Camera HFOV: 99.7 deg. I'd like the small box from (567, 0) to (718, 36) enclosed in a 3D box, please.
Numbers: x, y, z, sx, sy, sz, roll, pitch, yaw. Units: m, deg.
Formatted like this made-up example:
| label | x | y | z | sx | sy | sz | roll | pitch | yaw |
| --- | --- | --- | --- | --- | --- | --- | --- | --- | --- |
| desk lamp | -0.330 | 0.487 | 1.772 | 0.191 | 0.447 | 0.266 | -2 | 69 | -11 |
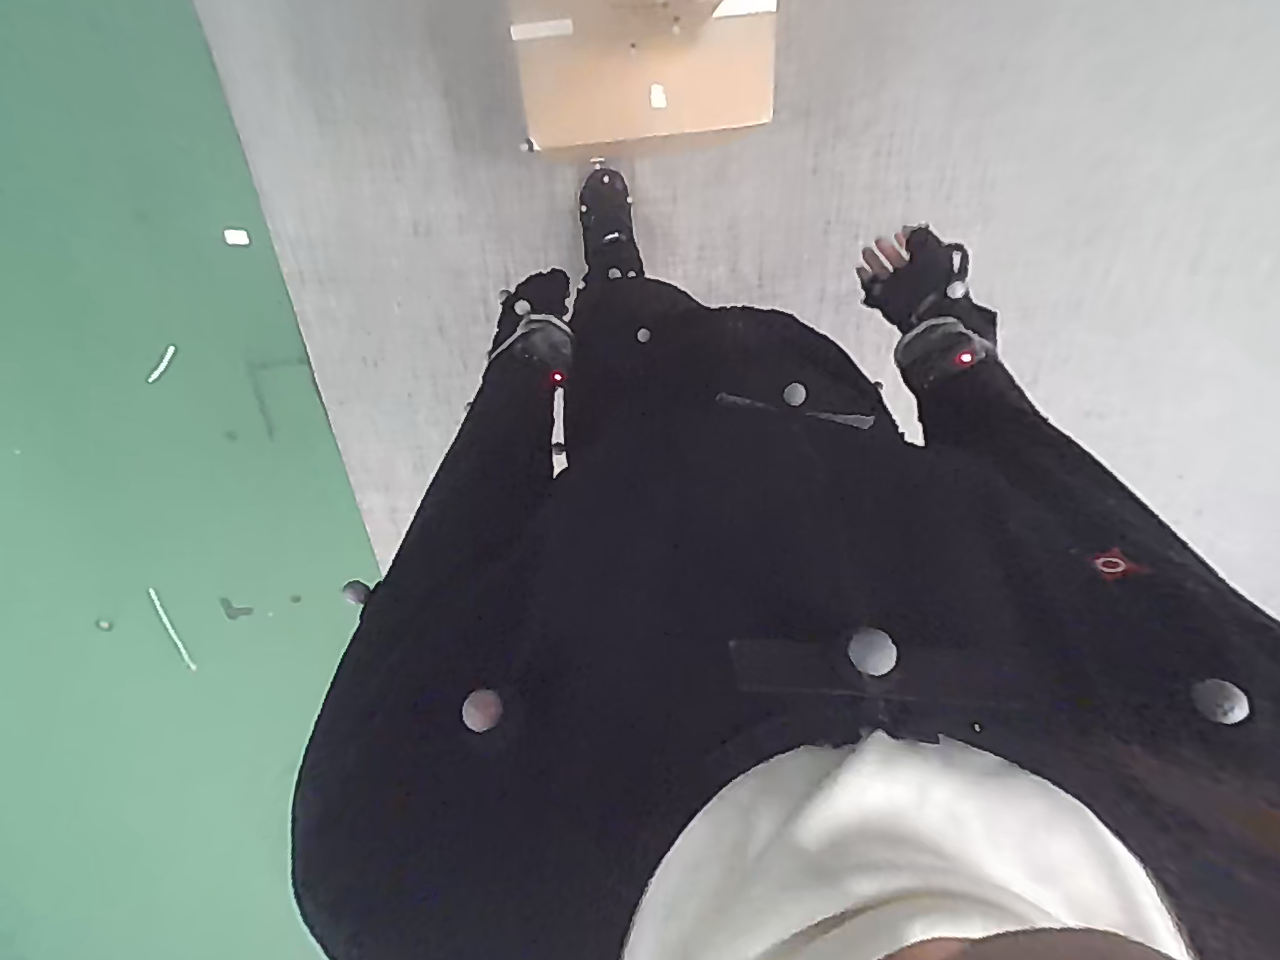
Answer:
| label | x | y | z | sx | sy | sz | roll | pitch | yaw |
| --- | --- | --- | --- | --- | --- | --- | --- | --- | --- |
| small box | -0.004 | -0.613 | 0.592 | 0.168 | 0.176 | 0.179 | -6 | 120 | -1 |
